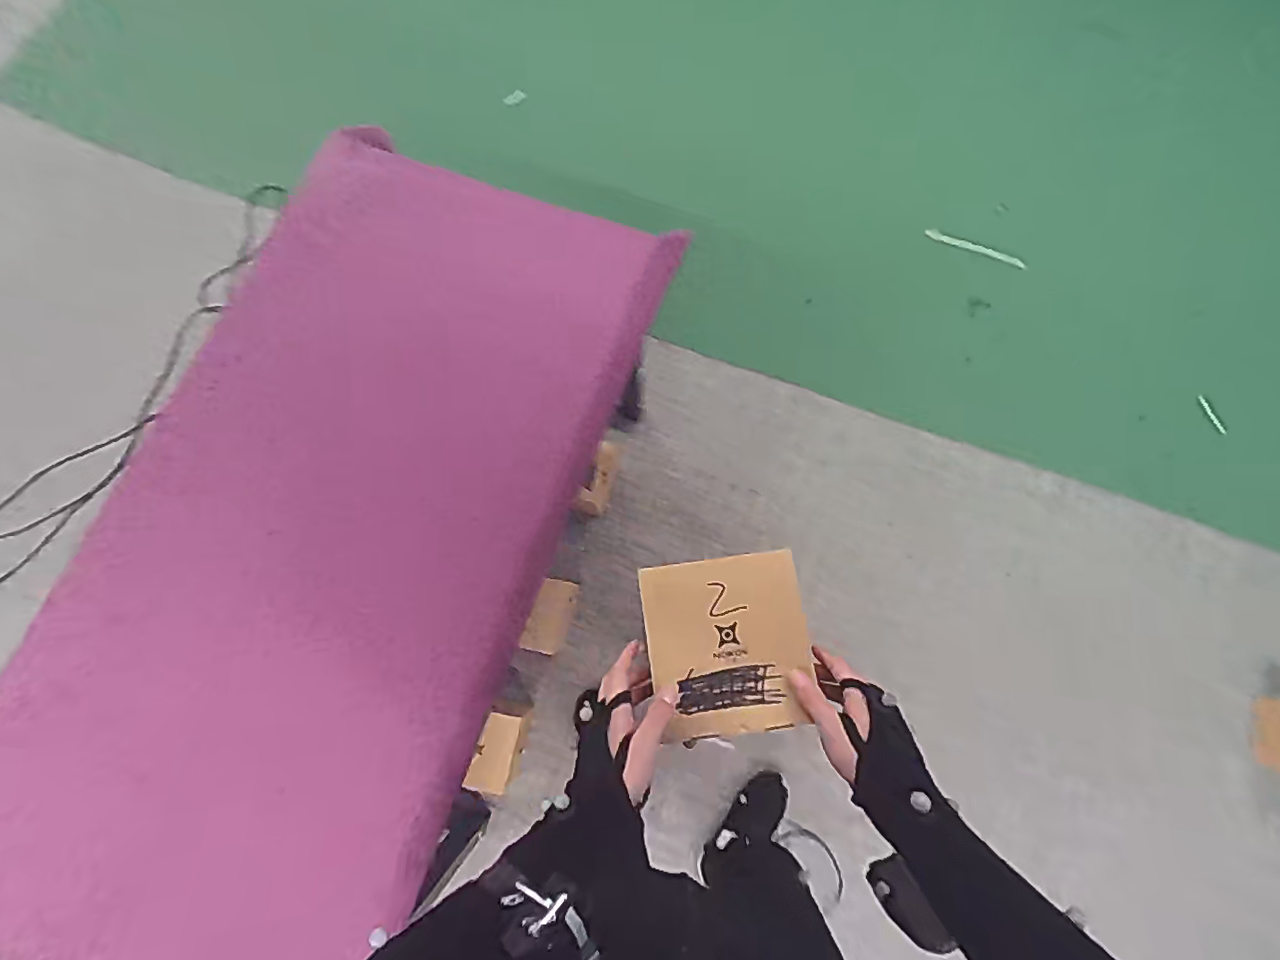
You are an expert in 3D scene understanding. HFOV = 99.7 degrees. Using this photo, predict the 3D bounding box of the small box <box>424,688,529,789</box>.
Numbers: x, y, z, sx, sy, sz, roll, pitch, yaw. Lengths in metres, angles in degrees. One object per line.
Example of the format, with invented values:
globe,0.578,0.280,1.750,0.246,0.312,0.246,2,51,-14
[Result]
small box,-0.376,0.601,1.281,0.179,0.176,0.168,11,76,3

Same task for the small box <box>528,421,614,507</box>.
small box,-0.173,-0.035,1.439,0.179,0.176,0.168,17,76,5

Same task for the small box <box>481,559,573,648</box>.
small box,-0.273,0.309,1.354,0.168,0.176,0.179,13,77,4
